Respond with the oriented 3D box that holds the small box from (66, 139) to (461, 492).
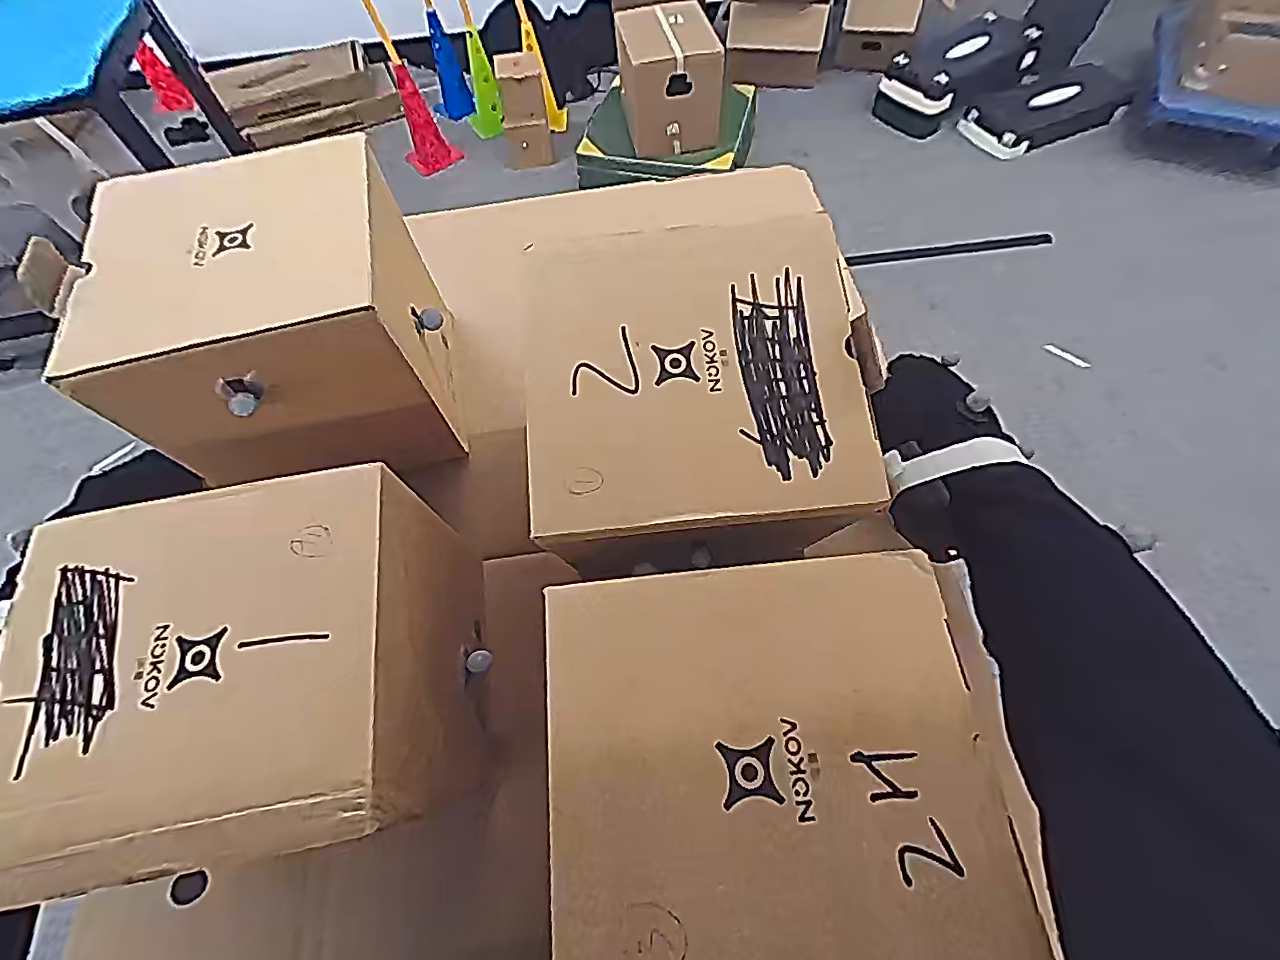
[{"bbox_3d":[-0.247,-0.112,0.409,0.179,0.176,0.168,-15,63,-3],"label":"small box"}]
